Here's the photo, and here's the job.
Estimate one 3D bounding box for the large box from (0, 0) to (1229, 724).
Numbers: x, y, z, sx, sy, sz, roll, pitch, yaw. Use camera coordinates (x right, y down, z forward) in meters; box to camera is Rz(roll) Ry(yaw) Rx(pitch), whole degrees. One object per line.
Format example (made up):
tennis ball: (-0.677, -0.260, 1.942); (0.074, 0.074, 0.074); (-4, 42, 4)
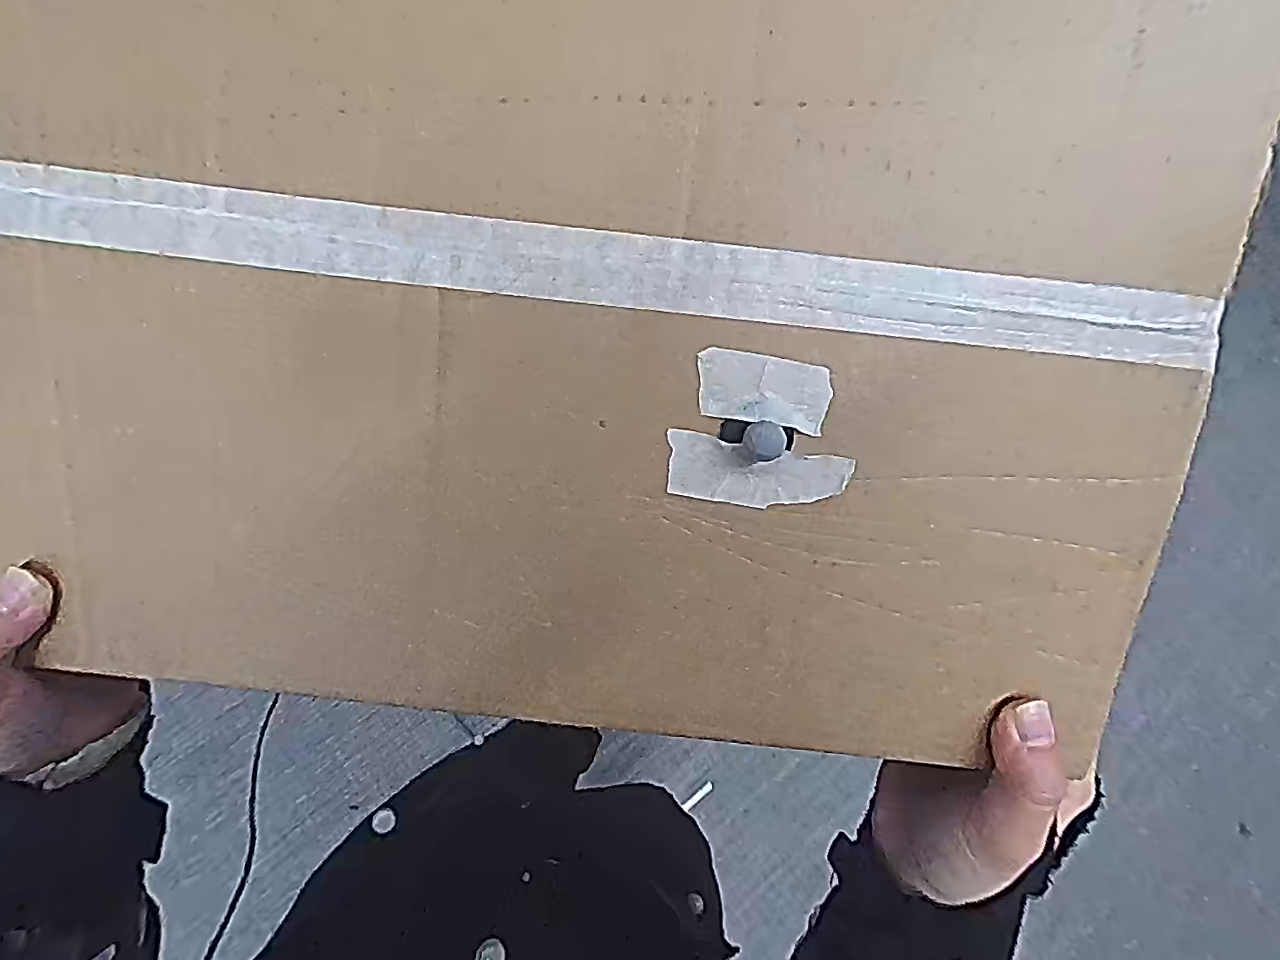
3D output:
large box: (-0.029, -0.094, 0.325); (0.408, 0.320, 0.320); (5, 101, -2)
